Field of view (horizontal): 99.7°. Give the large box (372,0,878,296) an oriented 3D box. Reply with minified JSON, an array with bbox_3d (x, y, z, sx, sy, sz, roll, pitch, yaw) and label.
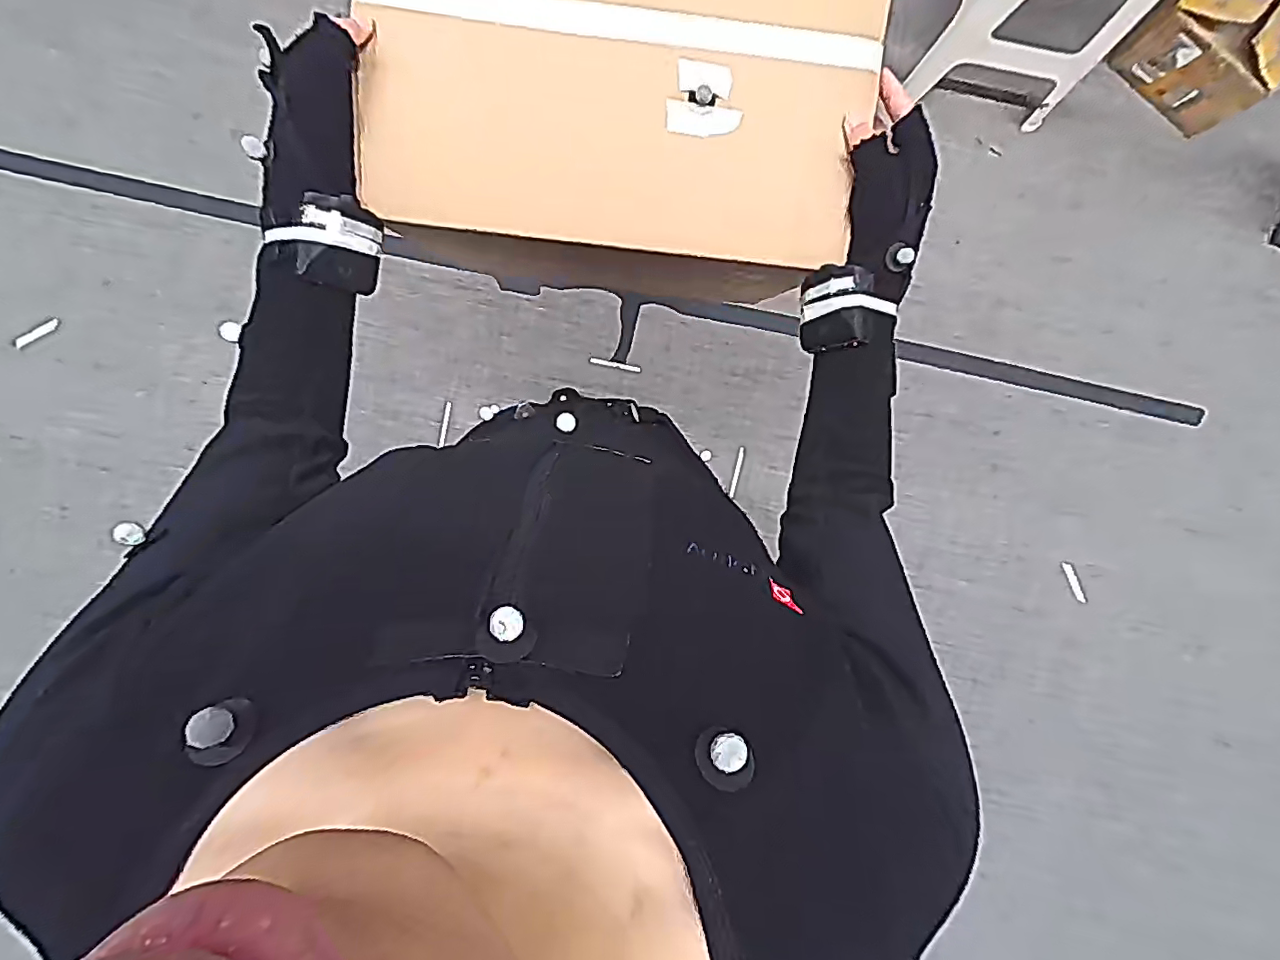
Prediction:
[{"bbox_3d":[-0.019,-0.387,0.576,0.408,0.320,0.320,5,104,-4],"label":"large box"}]
